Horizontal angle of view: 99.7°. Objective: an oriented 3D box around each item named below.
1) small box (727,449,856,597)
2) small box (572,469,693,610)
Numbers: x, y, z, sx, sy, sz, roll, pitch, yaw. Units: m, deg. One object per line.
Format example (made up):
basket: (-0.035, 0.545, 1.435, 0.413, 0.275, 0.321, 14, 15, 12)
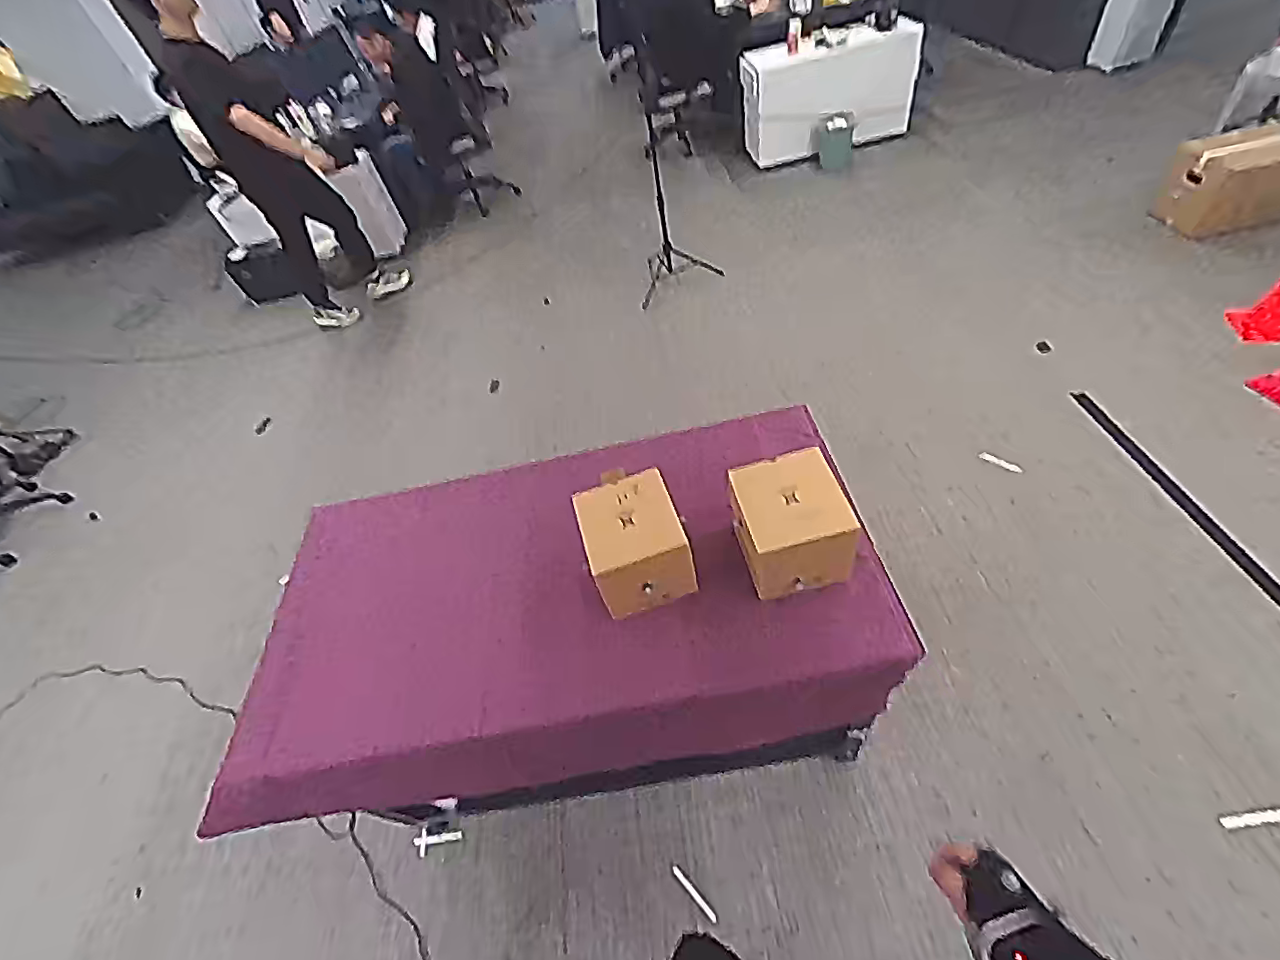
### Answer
small box: (0.257, 0.078, 0.952, 0.168, 0.176, 0.179, -15, 49, 2)
small box: (-0.010, 0.116, 0.984, 0.168, 0.176, 0.179, -19, 49, -3)
